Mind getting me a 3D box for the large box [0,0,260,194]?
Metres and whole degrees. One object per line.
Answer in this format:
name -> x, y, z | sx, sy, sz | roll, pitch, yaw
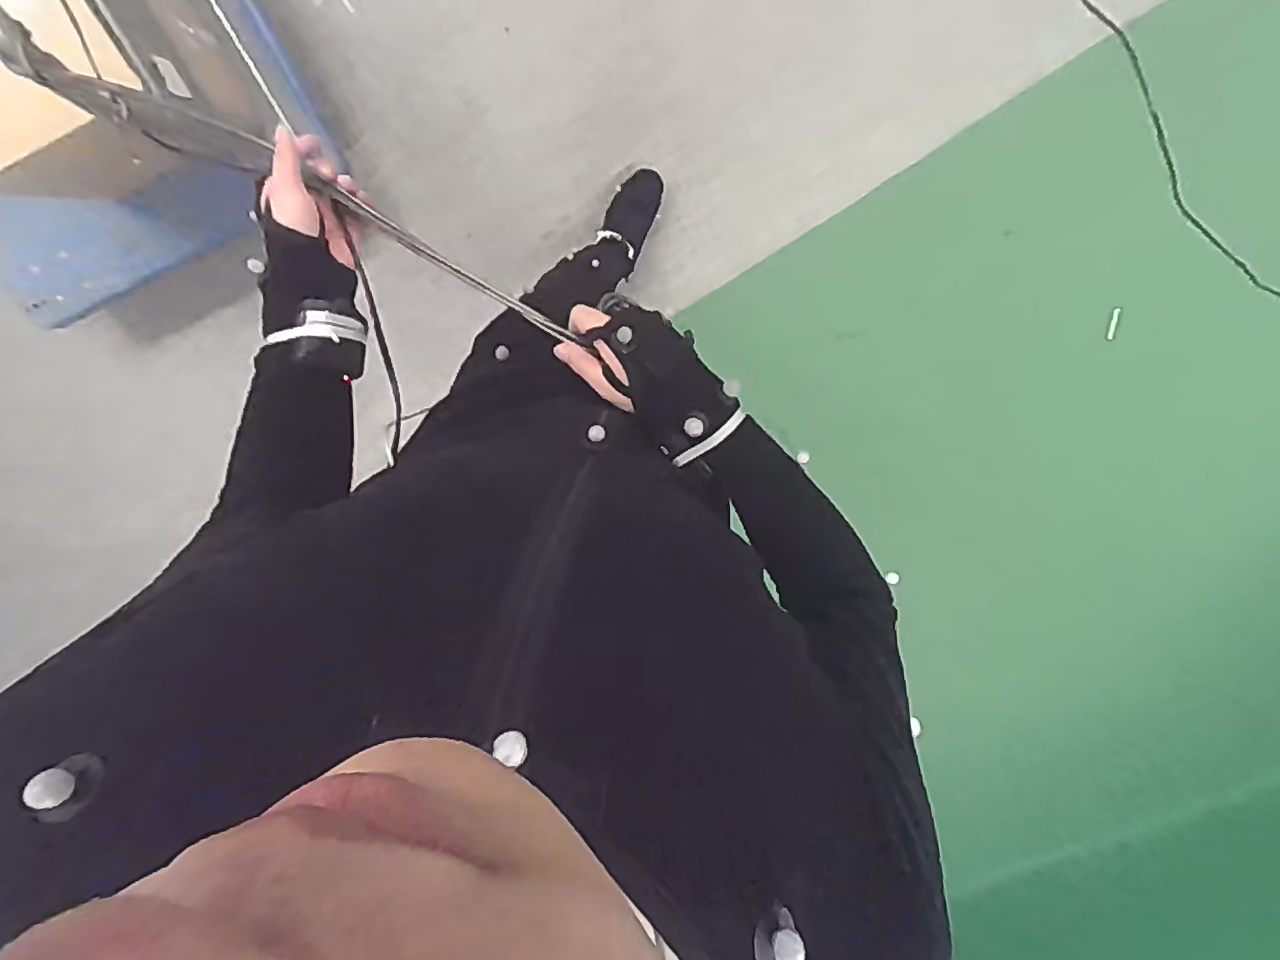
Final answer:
large box -> -1.005, -0.739, 0.941 | 0.408, 0.320, 0.320 | -20, 115, 8
